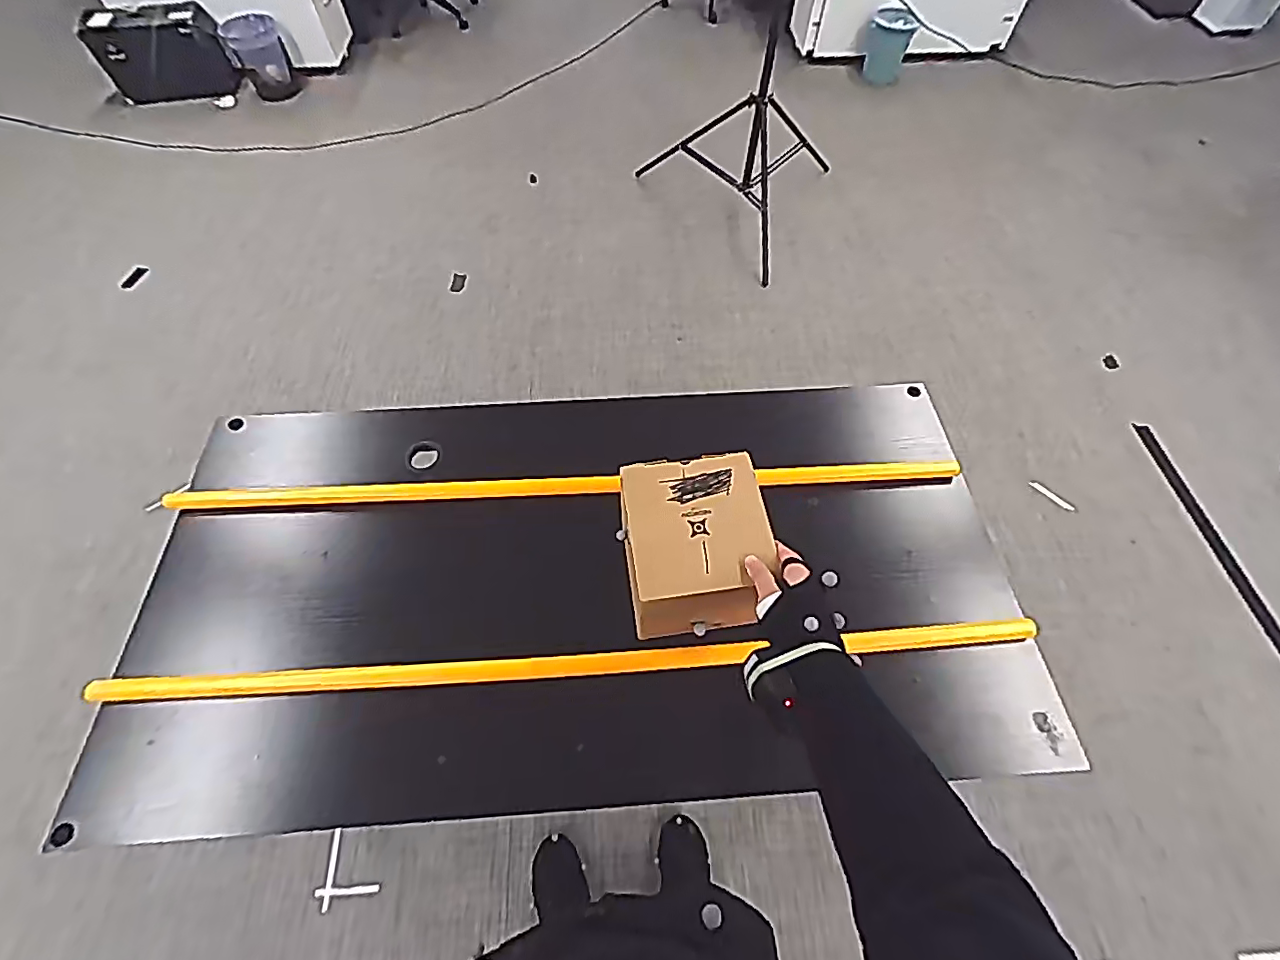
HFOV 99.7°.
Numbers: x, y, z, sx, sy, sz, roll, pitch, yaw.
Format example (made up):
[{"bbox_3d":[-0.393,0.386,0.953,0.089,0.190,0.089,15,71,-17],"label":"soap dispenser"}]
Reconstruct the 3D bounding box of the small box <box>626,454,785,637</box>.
[{"bbox_3d":[0.071,0.089,0.707,0.168,0.176,0.179,-7,60,-4],"label":"small box"}]
